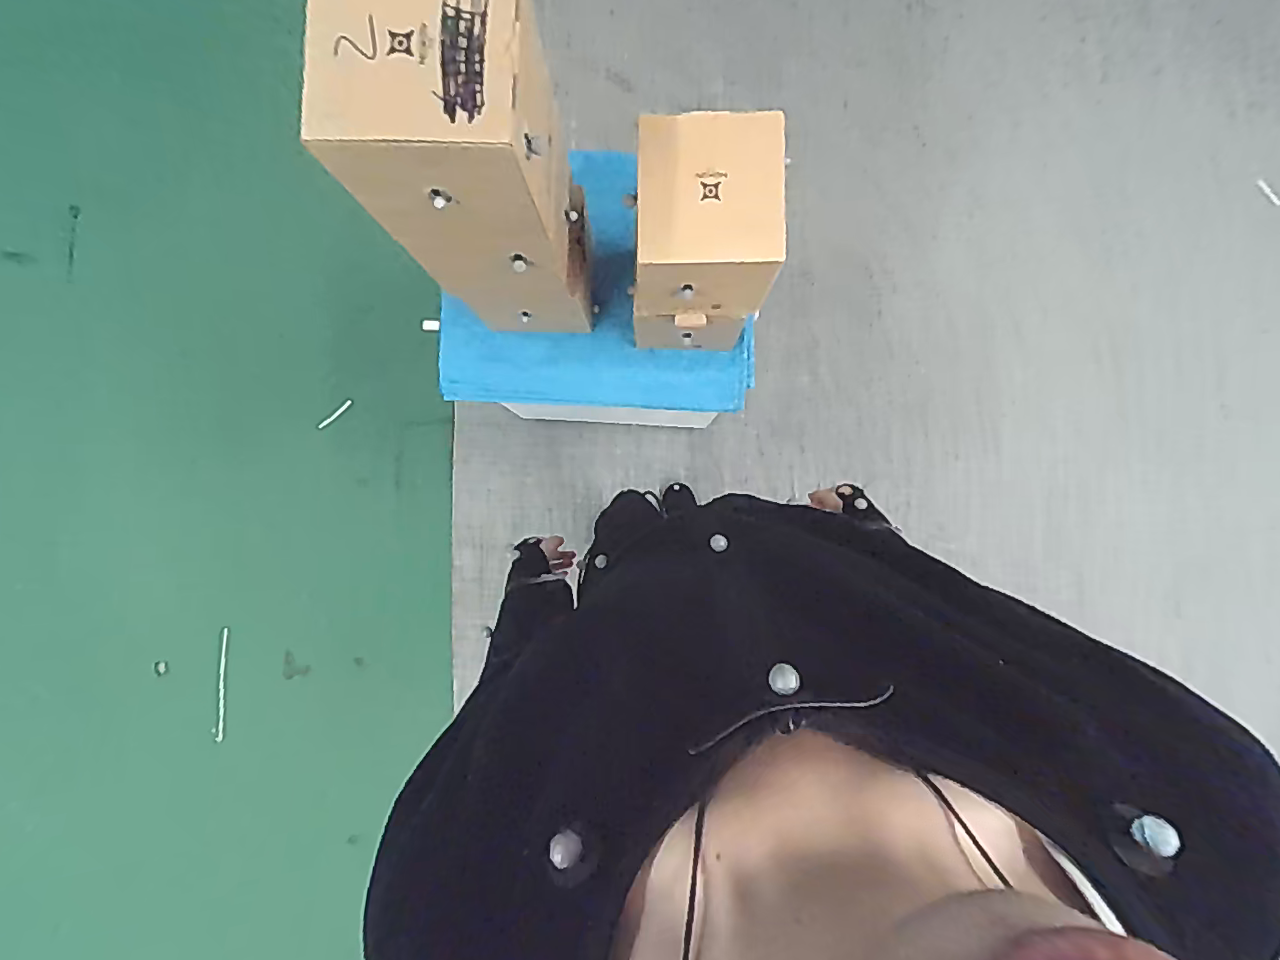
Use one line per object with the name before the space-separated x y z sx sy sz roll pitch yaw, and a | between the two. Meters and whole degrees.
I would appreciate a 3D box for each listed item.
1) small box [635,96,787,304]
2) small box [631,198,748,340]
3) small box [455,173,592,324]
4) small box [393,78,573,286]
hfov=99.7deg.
small box | 0.080 -0.328 0.667 0.168 0.176 0.179 0 87 1
small box | 0.074 -0.322 0.829 0.168 0.176 0.179 2 89 1
small box | -0.168 -0.348 0.832 0.179 0.176 0.168 2 88 1
small box | -0.179 -0.352 0.668 0.179 0.176 0.168 2 88 1
